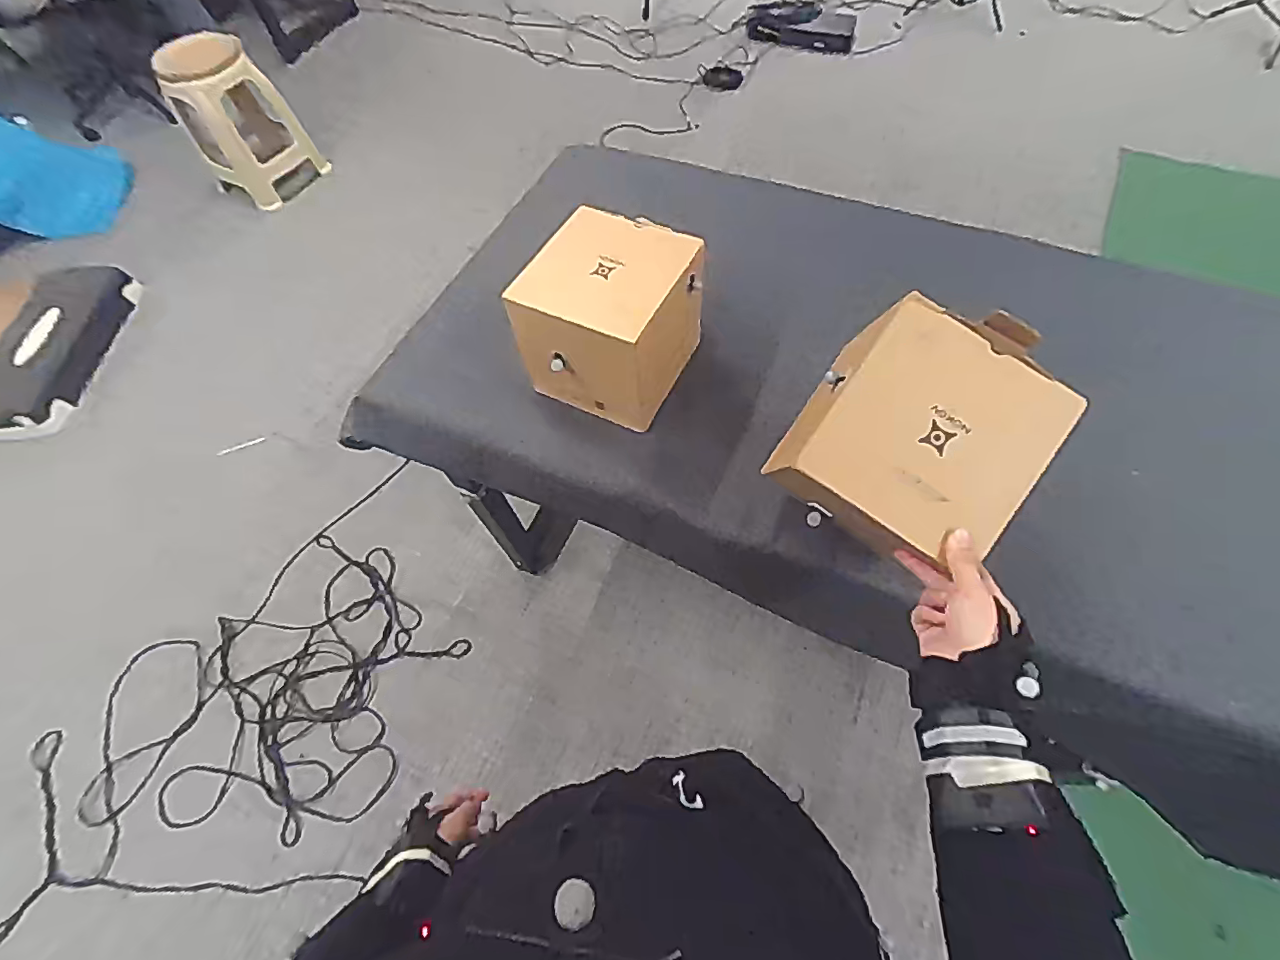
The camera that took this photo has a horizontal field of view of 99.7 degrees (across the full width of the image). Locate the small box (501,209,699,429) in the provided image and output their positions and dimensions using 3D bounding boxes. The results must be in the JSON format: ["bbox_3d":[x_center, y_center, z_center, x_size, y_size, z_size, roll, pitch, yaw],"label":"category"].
[{"bbox_3d":[-0.037,-0.192,0.666,0.168,0.176,0.179,22,63,15],"label":"small box"}]

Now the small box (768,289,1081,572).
[{"bbox_3d":[0.242,-0.038,0.514,0.168,0.176,0.179,34,89,5],"label":"small box"}]
